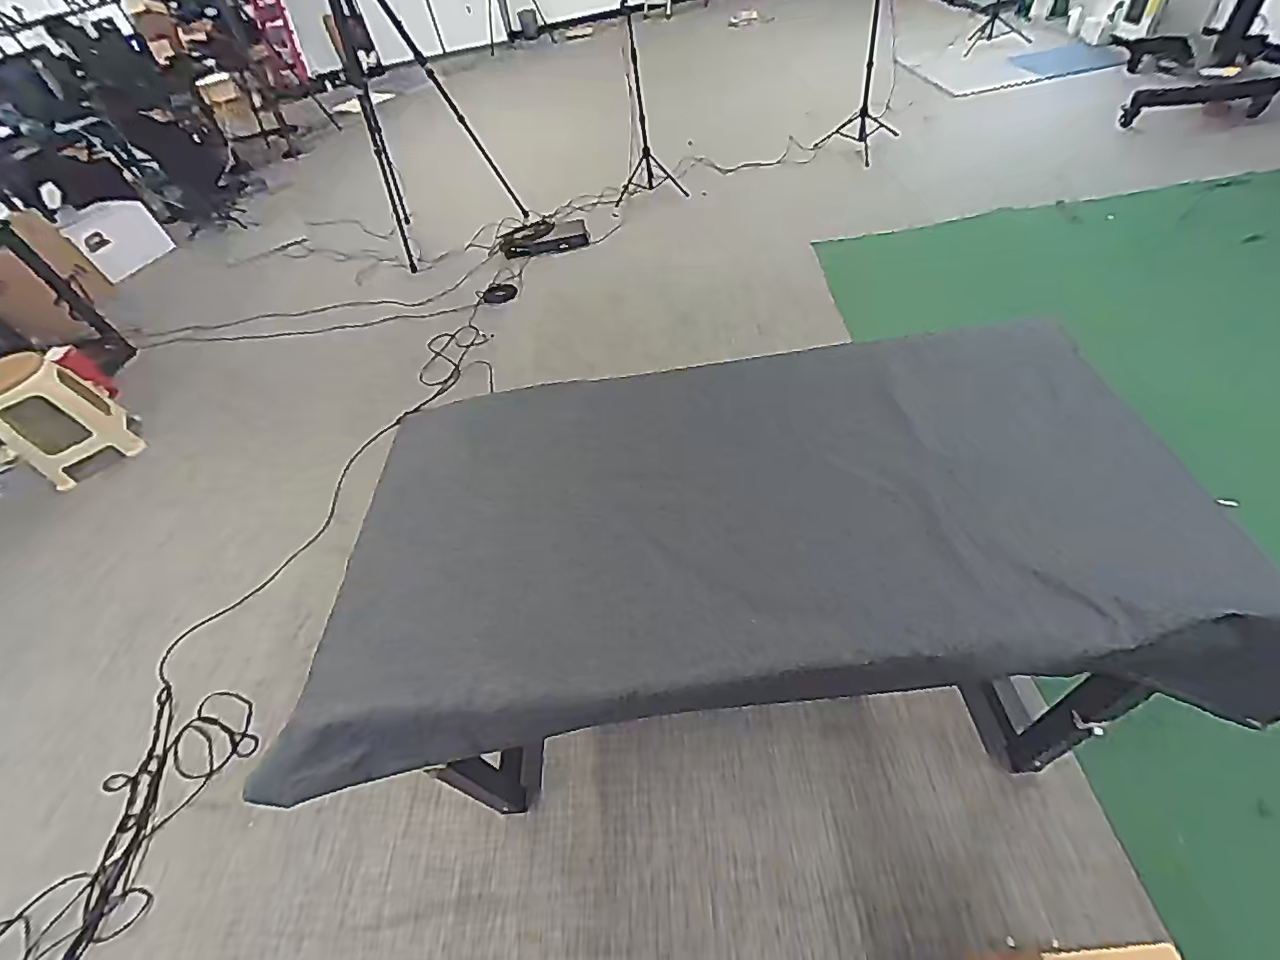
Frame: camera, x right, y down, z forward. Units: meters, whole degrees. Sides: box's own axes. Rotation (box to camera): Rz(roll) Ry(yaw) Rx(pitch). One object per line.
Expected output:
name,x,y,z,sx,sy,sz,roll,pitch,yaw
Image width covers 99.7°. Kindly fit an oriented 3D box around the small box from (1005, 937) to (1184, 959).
small box,0.647,0.739,0.738,0.179,0.176,0.168,-9,48,4
